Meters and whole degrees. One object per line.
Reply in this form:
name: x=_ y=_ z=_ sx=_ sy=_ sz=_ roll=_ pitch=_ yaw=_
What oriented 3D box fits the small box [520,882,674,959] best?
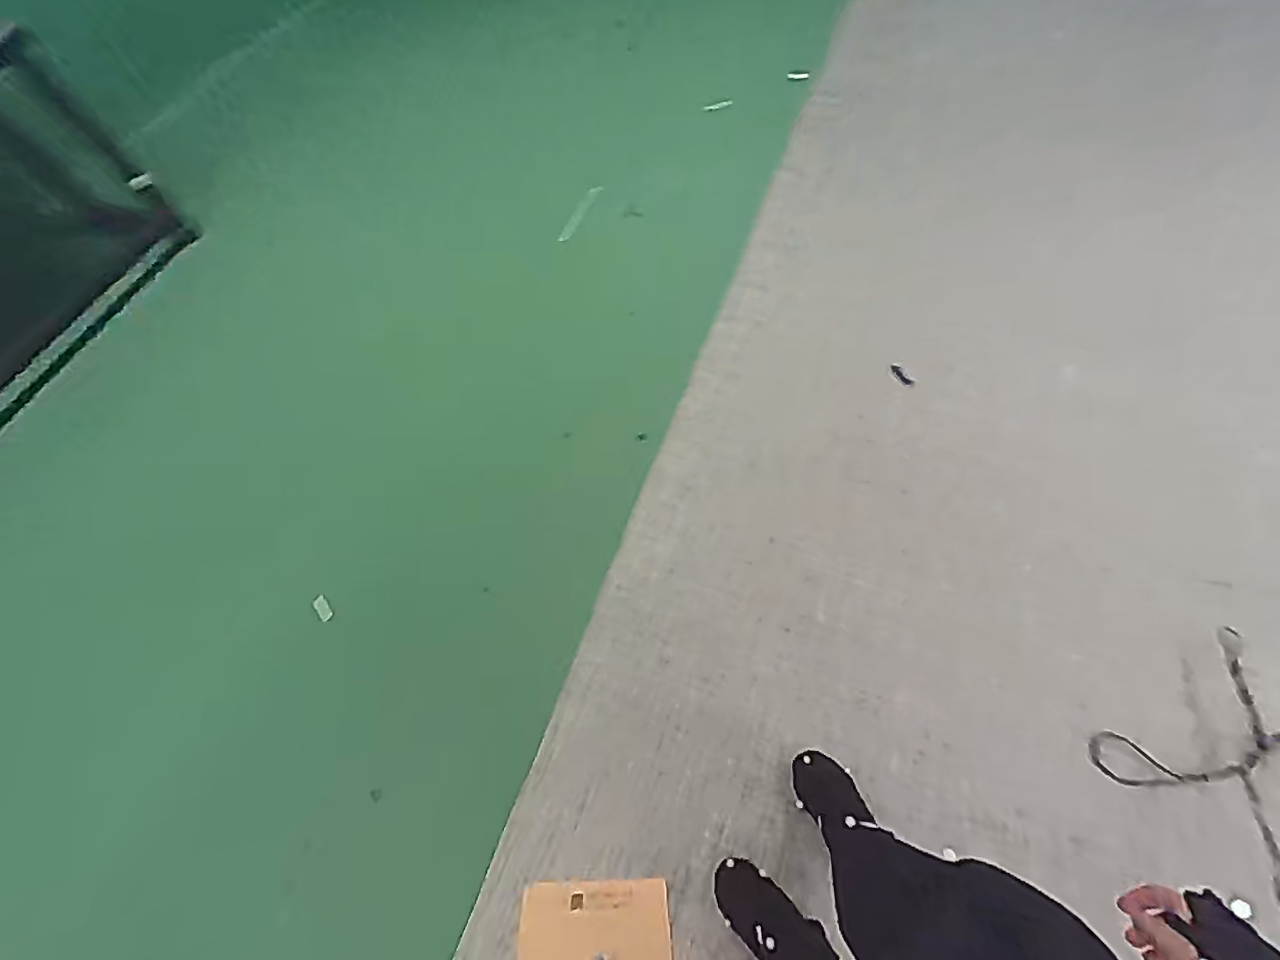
small box: x=-0.053 y=0.575 z=0.611 sx=0.168 sy=0.179 sz=0.176 roll=3 pitch=40 yaw=-8
